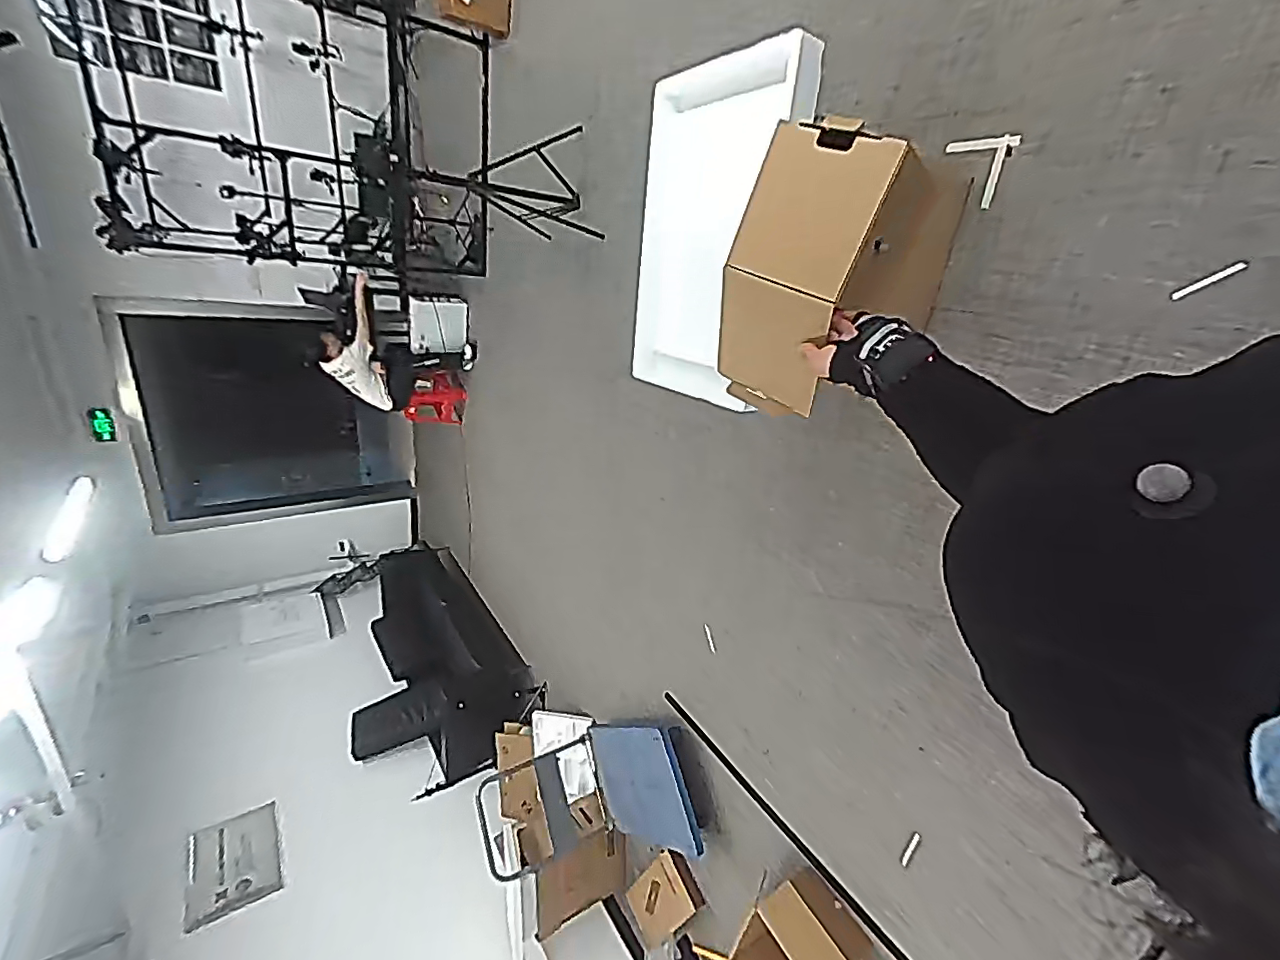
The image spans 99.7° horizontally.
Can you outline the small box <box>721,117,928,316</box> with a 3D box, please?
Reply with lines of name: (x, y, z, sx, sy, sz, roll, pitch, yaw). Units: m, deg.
small box: (0.239, -0.325, 0.693, 0.168, 0.176, 0.179, 34, 116, 30)
